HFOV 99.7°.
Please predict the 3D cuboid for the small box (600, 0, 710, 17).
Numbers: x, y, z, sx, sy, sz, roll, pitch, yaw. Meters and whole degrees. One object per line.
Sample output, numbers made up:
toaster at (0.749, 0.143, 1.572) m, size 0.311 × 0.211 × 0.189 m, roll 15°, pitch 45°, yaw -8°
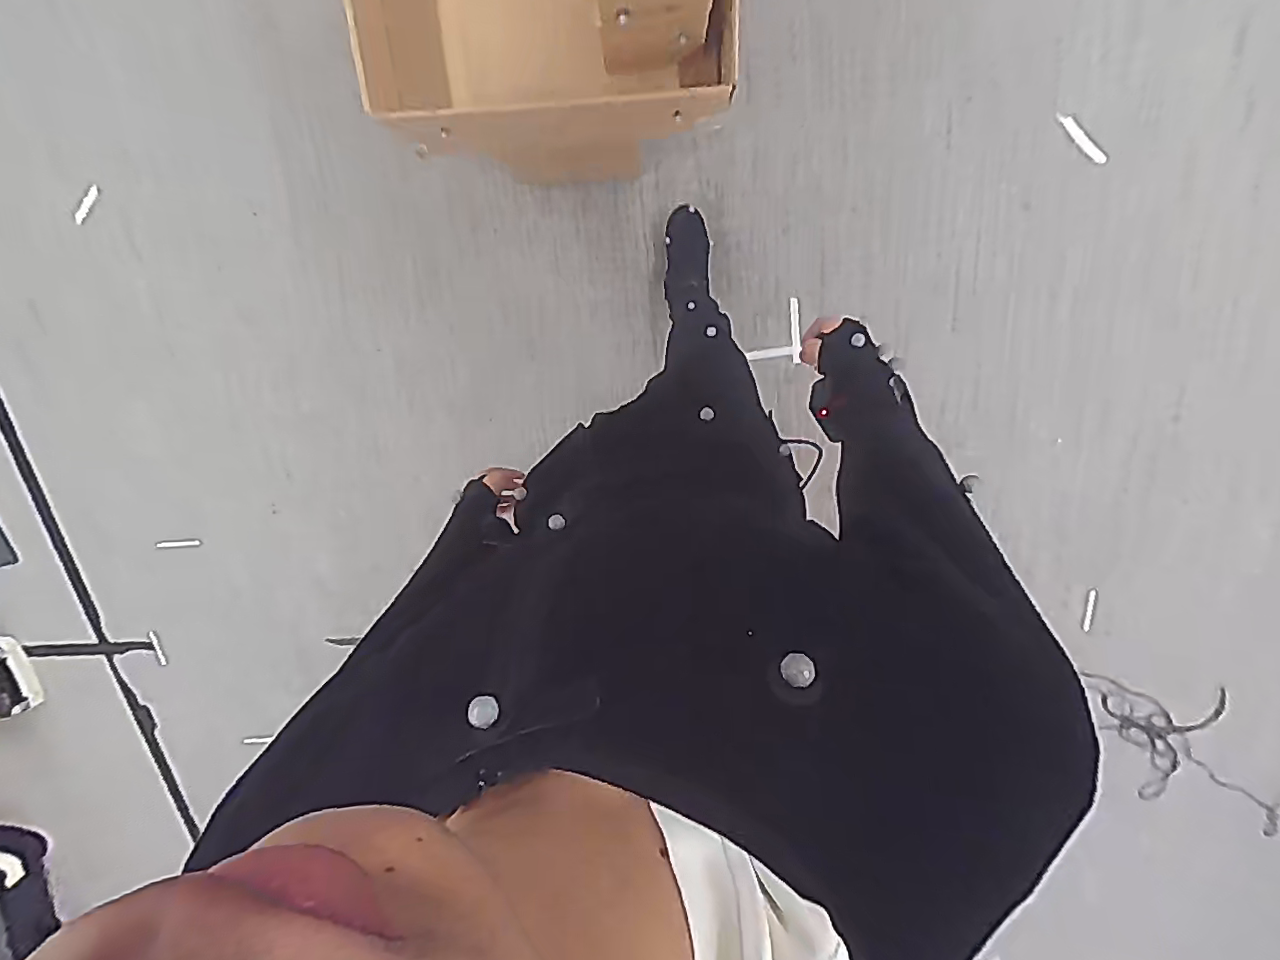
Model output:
small box at (0.014, -0.743, 0.700) m, size 0.168 × 0.176 × 0.179 m, roll -5°, pitch 107°, yaw 4°
